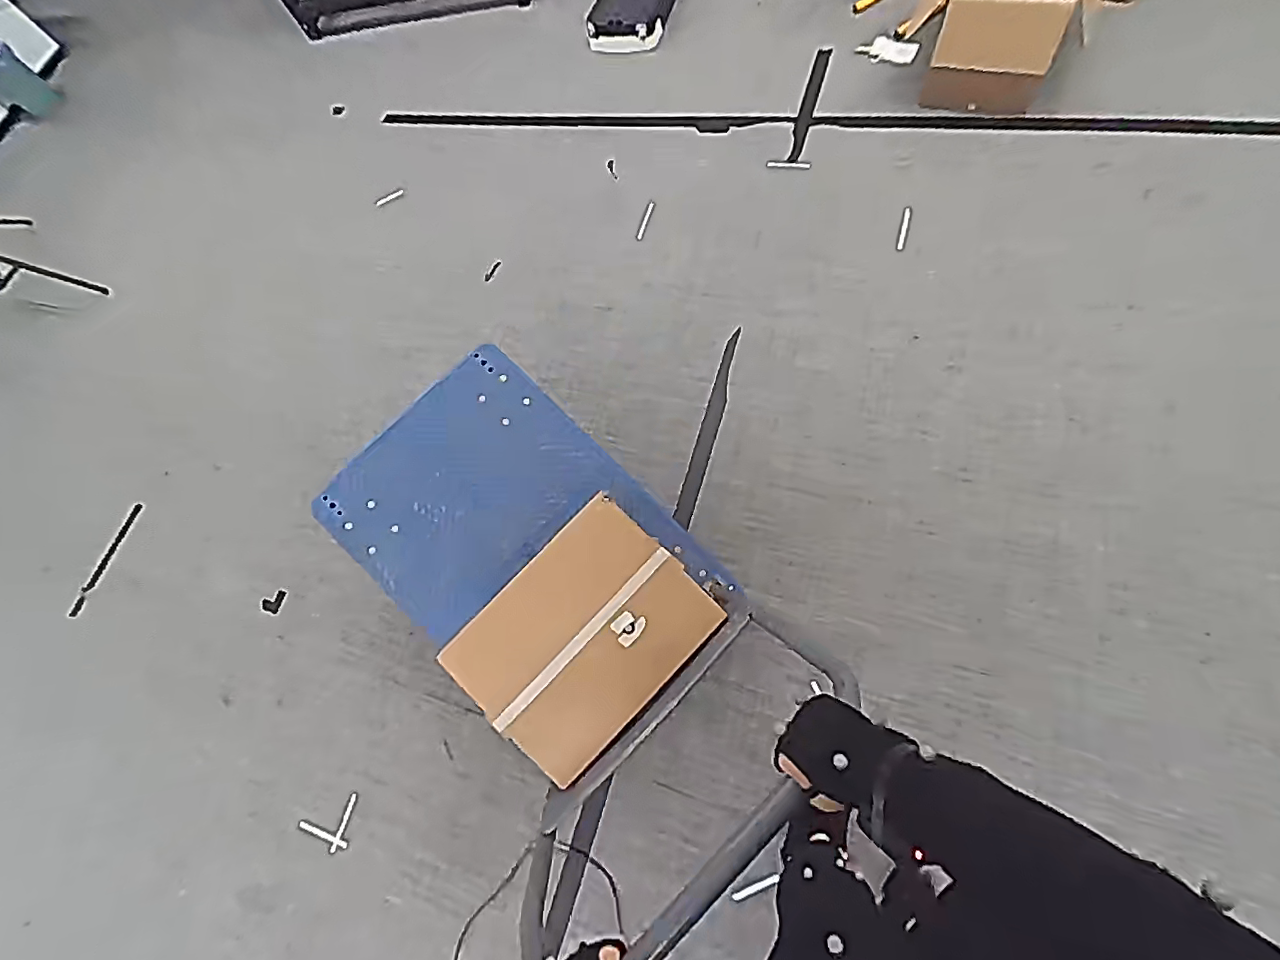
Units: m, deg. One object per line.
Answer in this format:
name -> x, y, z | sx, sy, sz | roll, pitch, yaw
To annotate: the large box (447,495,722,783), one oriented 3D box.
large box -> -0.099, 0.293, 1.094 | 0.320, 0.320, 0.408 | 43, 83, 4
